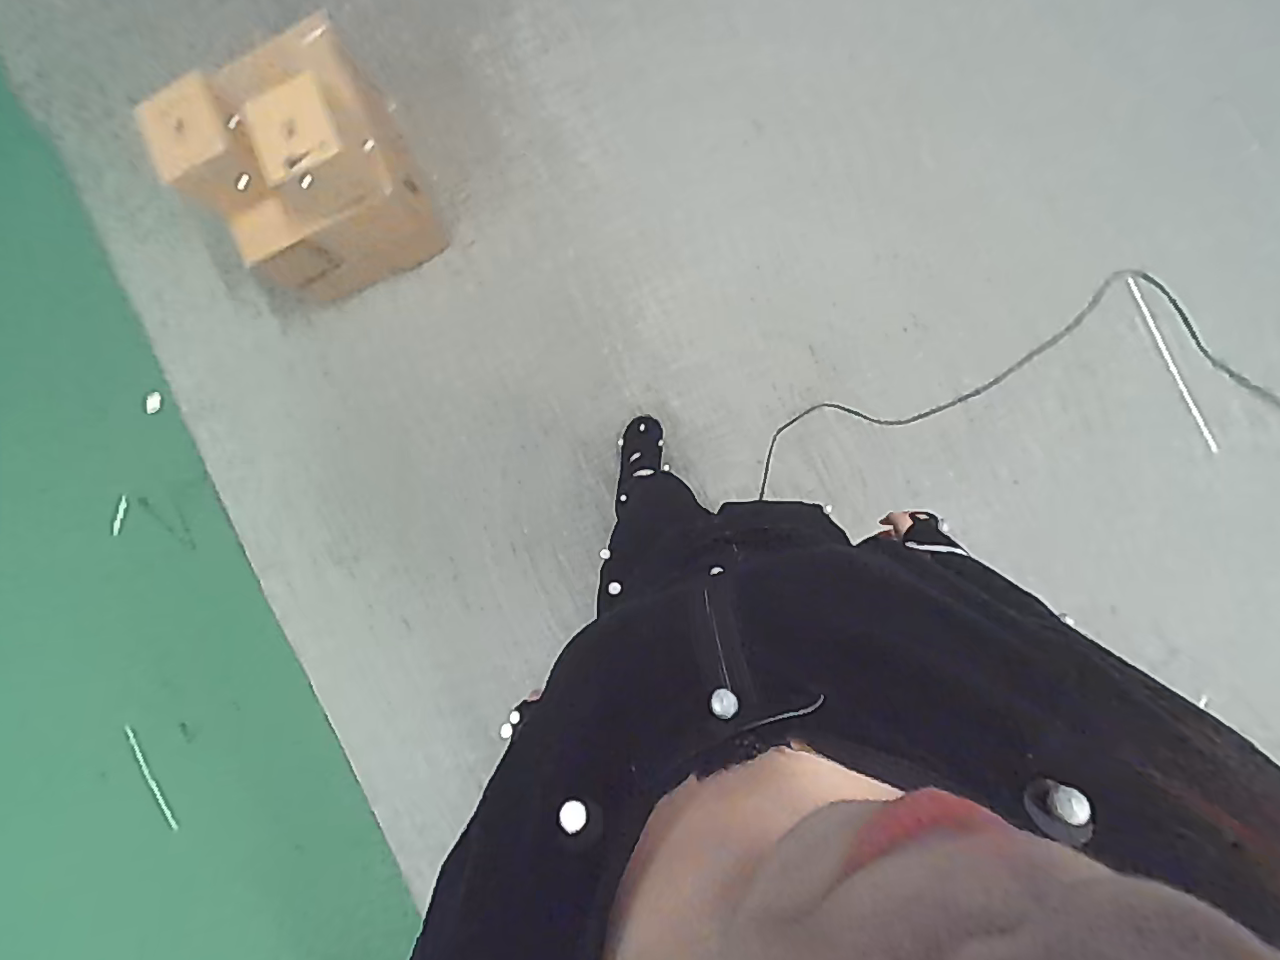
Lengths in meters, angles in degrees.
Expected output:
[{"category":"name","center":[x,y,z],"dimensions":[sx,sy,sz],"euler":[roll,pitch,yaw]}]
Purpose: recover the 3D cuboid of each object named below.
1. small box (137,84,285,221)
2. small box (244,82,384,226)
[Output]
[{"category":"small box","center":[-0.932,-0.704,1.192],"dimensions":[0.168,0.176,0.179],"euler":[-23,87,7]},{"category":"small box","center":[-0.689,-0.687,1.160],"dimensions":[0.168,0.176,0.179],"euler":[-20,88,6]}]
